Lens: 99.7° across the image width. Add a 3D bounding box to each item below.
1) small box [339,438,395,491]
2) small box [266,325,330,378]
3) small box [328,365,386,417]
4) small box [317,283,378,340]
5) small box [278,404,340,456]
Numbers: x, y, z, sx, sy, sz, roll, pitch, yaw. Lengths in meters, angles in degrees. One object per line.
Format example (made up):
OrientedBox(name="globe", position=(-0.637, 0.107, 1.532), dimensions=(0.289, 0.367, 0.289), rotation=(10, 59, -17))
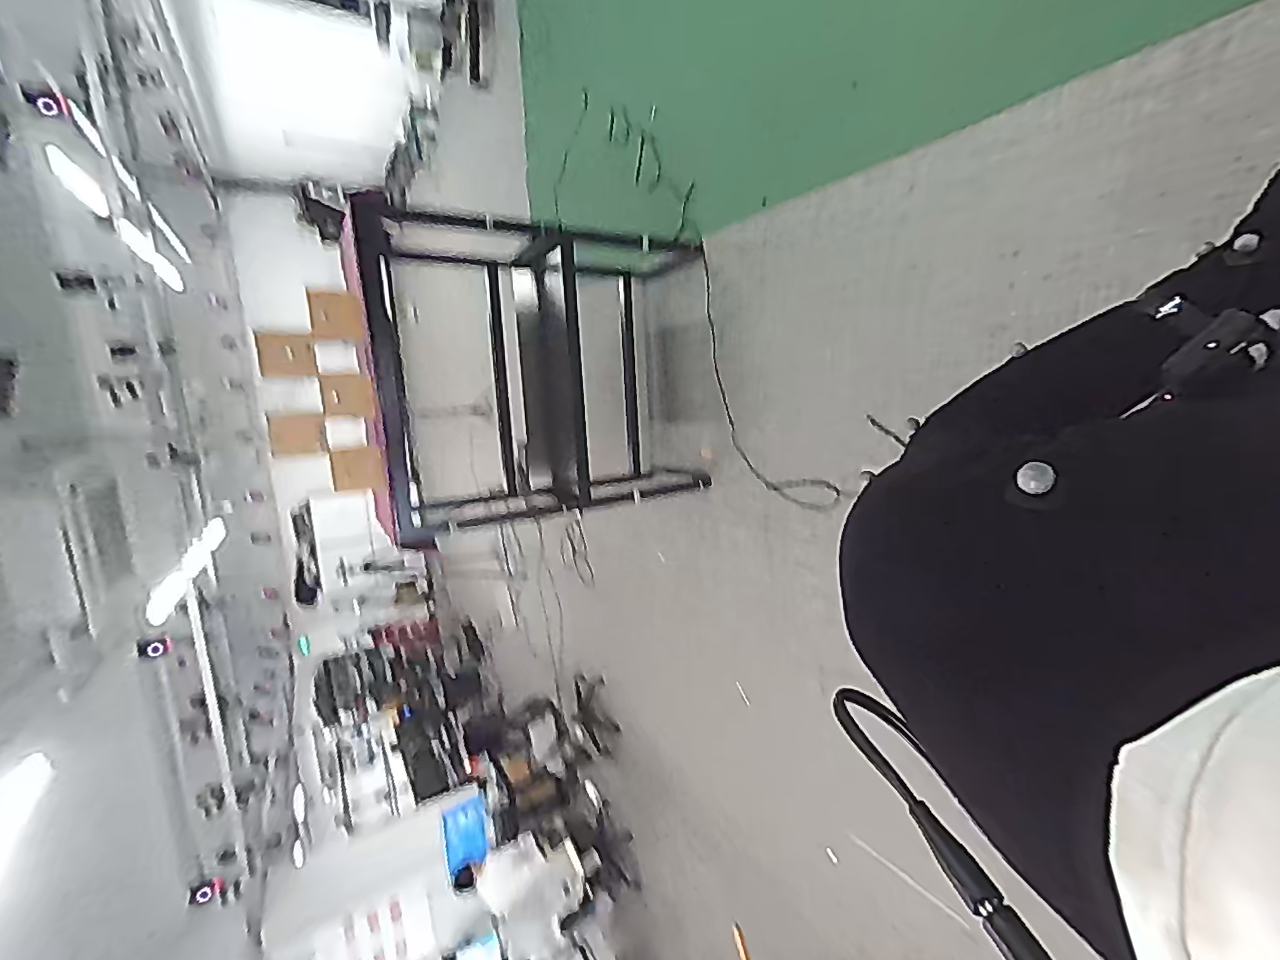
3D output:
OrientedBox(name="small box", position=(-1.027, -0.062, 2.031), dimensions=(0.168, 0.176, 0.179), rotation=(8, 104, 58))
OrientedBox(name="small box", position=(-1.190, -0.449, 1.890), dimensions=(0.179, 0.176, 0.168), rotation=(11, 107, 59))
OrientedBox(name="small box", position=(-1.035, -0.326, 1.983), dimensions=(0.168, 0.176, 0.179), rotation=(12, 107, 59))
OrientedBox(name="small box", position=(-1.052, -0.601, 1.943), dimensions=(0.168, 0.176, 0.179), rotation=(13, 109, 59))
OrientedBox(name="small box", position=(-1.178, -0.184, 1.933), dimensions=(0.179, 0.176, 0.168), rotation=(16, 110, 59))
